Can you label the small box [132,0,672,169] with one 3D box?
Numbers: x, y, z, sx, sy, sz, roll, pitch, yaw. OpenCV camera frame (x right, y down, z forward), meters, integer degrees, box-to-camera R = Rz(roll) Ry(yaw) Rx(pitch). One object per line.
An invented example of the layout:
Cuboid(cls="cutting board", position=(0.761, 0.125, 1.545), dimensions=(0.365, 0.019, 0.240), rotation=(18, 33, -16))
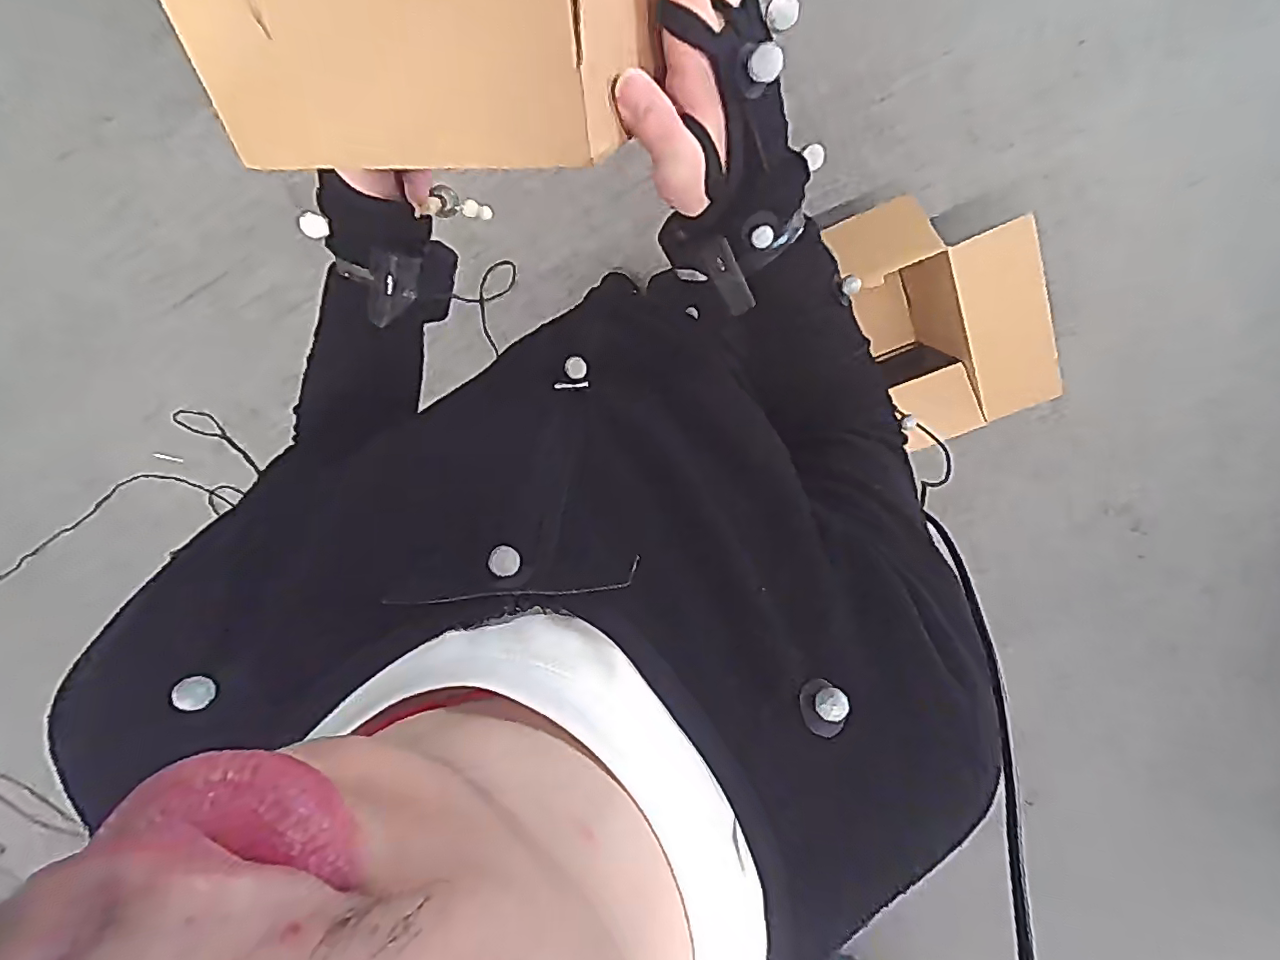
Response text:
Cuboid(cls="small box", position=(-0.086, -0.239, 0.218), dimensions=(0.179, 0.176, 0.168), rotation=(9, 134, 15))
